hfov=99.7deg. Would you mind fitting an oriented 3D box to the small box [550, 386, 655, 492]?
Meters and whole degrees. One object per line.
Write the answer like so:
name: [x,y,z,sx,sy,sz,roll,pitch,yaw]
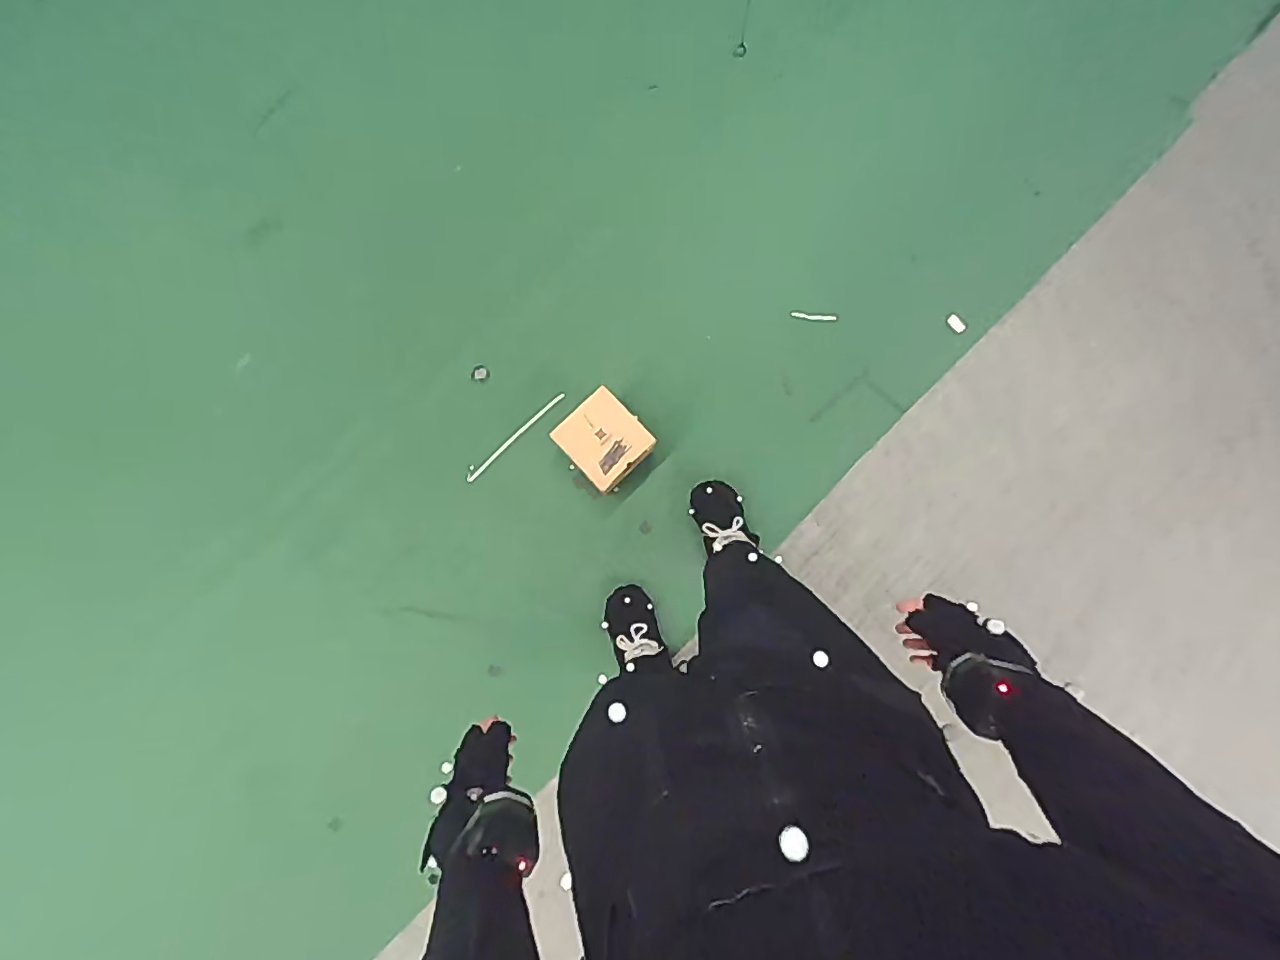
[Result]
small box: [-0.084,-0.087,1.263,0.168,0.176,0.179,-44,88,-5]
